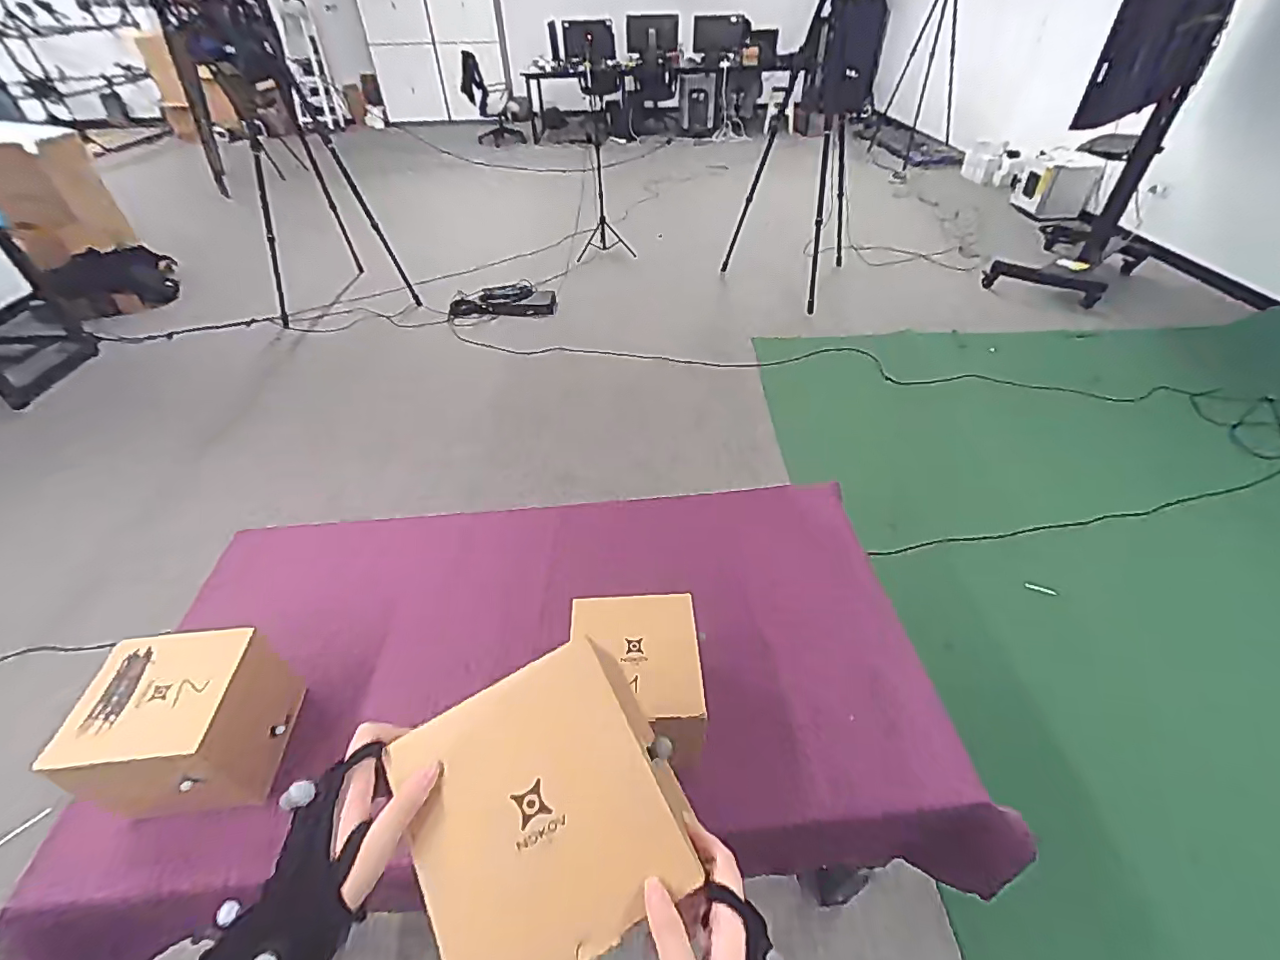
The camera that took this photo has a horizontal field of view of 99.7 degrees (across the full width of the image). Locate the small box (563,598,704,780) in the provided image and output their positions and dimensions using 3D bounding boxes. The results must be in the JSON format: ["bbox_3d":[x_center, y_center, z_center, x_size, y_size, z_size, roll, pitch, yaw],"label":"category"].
[{"bbox_3d":[-0.008,0.281,0.733,0.168,0.176,0.179,-2,43,0],"label":"small box"}]
